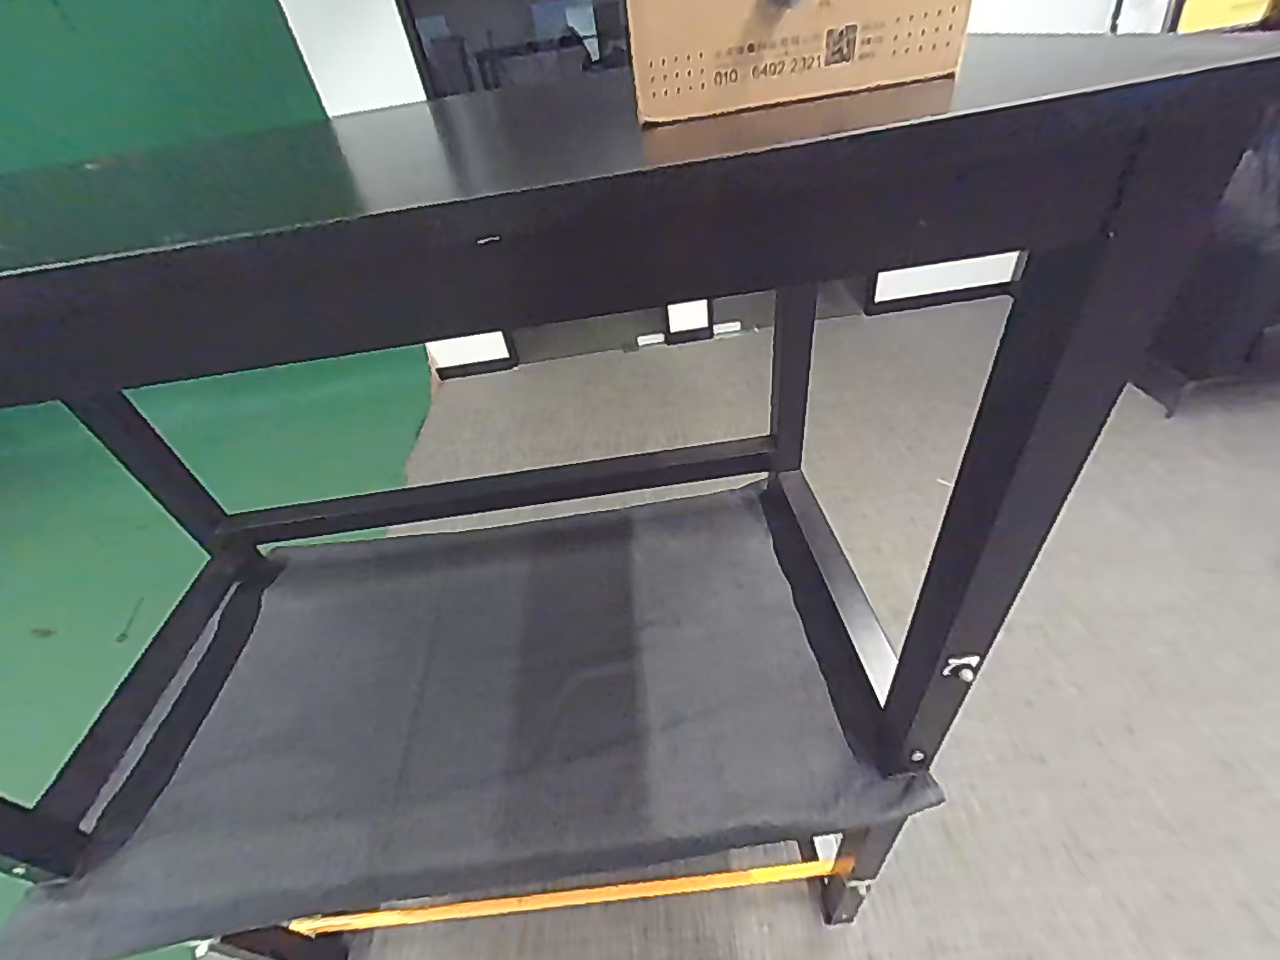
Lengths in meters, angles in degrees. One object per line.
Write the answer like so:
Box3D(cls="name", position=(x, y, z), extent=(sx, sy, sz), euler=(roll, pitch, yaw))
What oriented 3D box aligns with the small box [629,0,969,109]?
Box3D(cls="small box", position=(0.075, -0.318, 0.294), extent=(0.168, 0.176, 0.179), euler=(-5, 41, 7))
